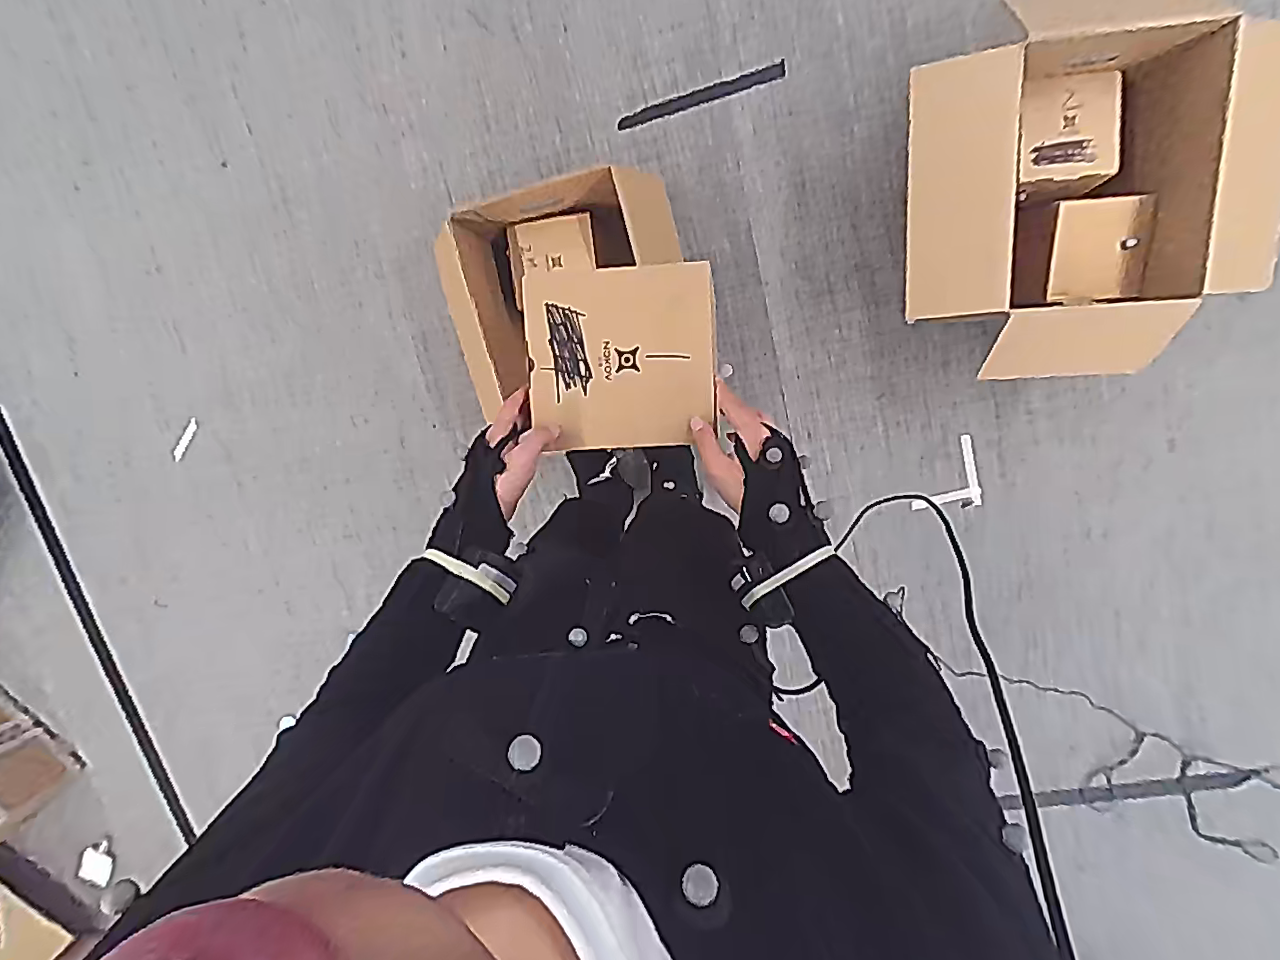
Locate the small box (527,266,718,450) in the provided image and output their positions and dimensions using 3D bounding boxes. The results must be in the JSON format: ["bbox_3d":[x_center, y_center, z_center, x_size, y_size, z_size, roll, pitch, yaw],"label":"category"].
[{"bbox_3d":[-0.007,-0.119,0.585,0.179,0.176,0.168,-2,96,9],"label":"small box"}]
